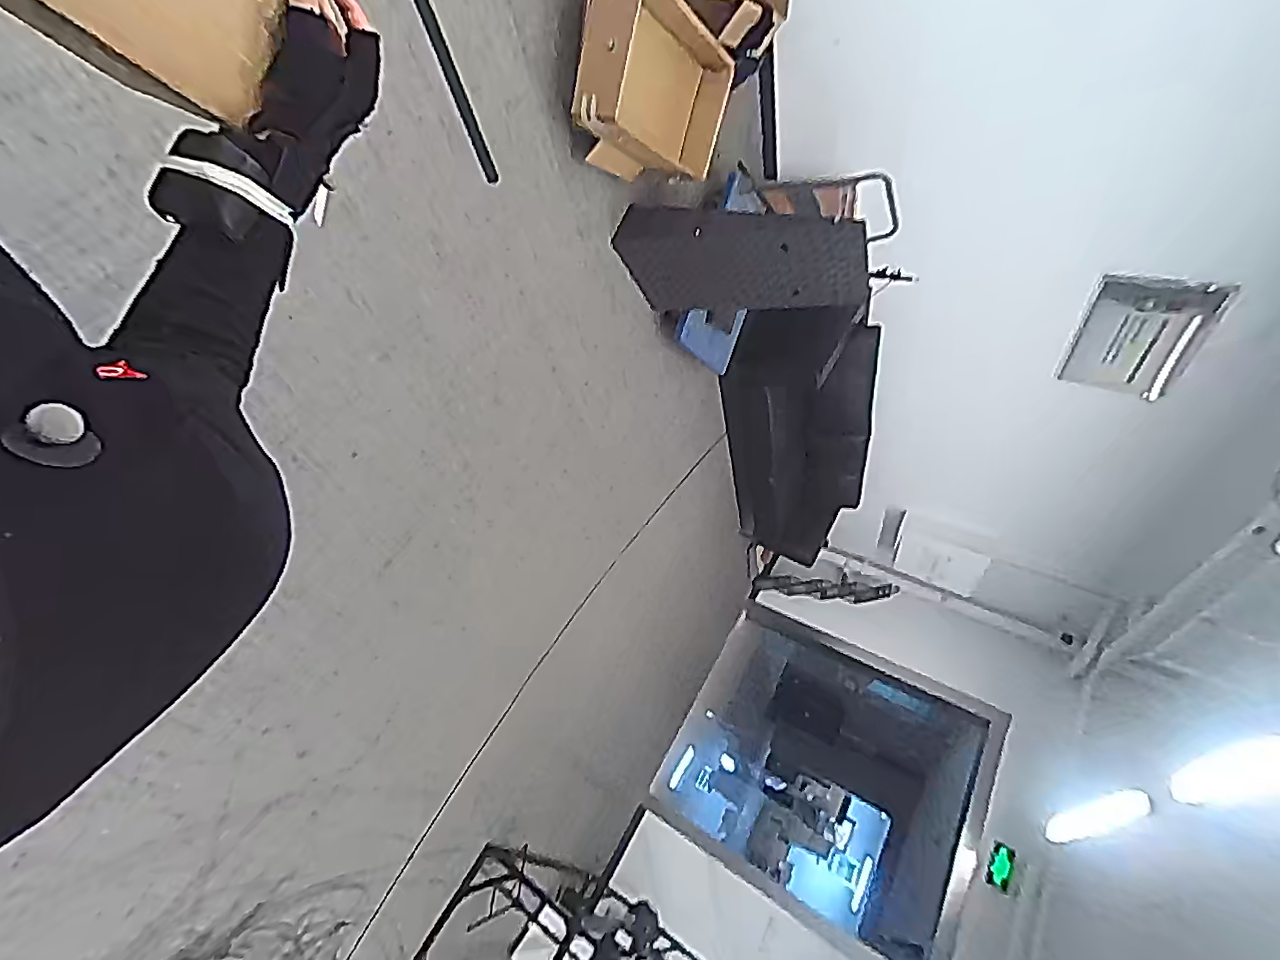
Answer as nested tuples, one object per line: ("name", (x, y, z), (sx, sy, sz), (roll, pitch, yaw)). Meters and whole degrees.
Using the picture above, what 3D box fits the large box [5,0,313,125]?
("large box", (-0.438, -0.514, 0.317), (0.320, 0.320, 0.408), (-59, 152, 5))
